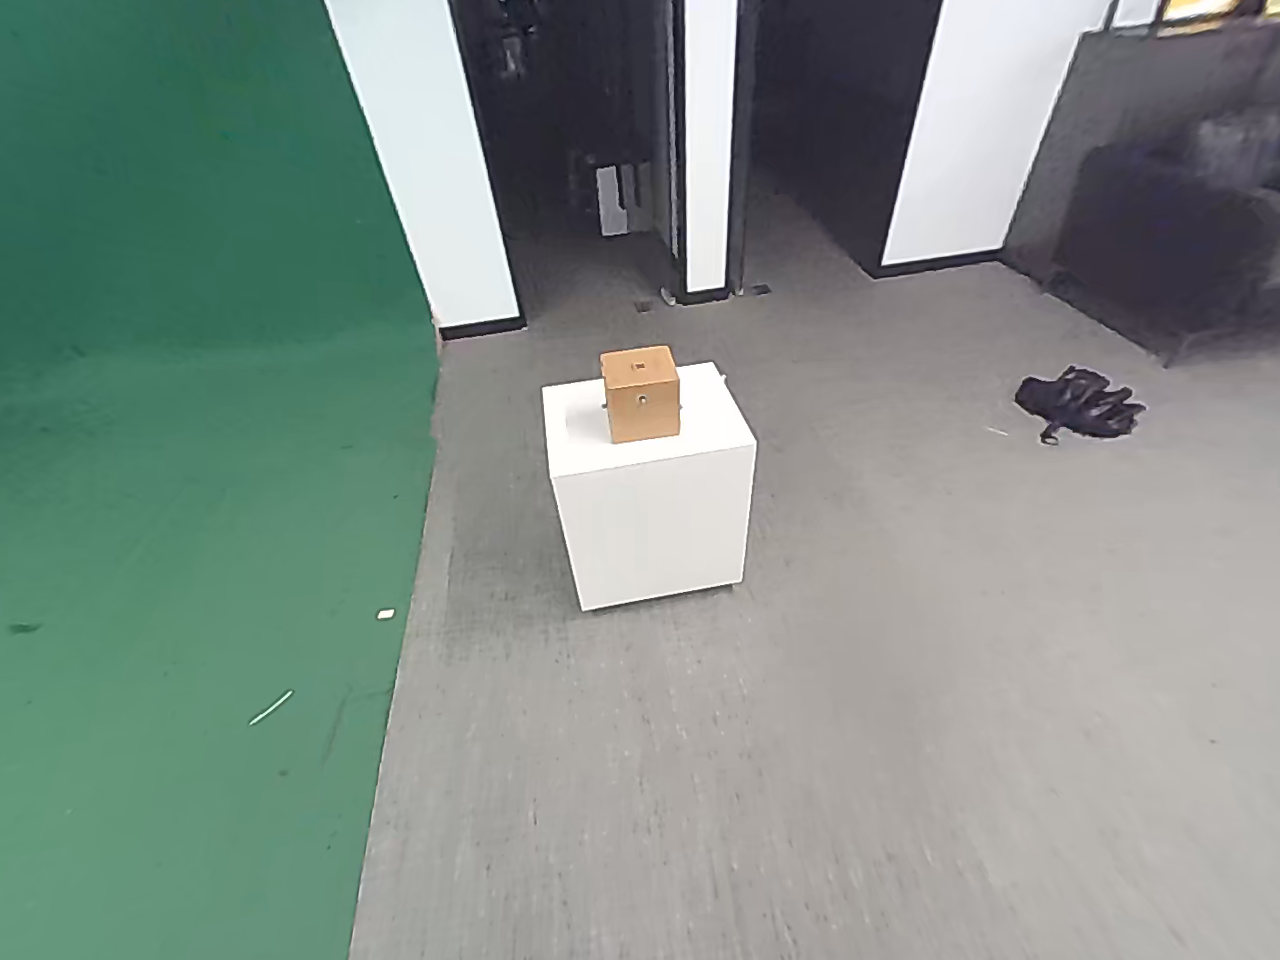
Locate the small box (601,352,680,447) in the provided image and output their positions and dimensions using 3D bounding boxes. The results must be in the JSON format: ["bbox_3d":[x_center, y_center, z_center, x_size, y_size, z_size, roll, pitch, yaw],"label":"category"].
[{"bbox_3d":[0.003,-0.200,1.370,0.179,0.176,0.168,-8,43,-4],"label":"small box"}]
